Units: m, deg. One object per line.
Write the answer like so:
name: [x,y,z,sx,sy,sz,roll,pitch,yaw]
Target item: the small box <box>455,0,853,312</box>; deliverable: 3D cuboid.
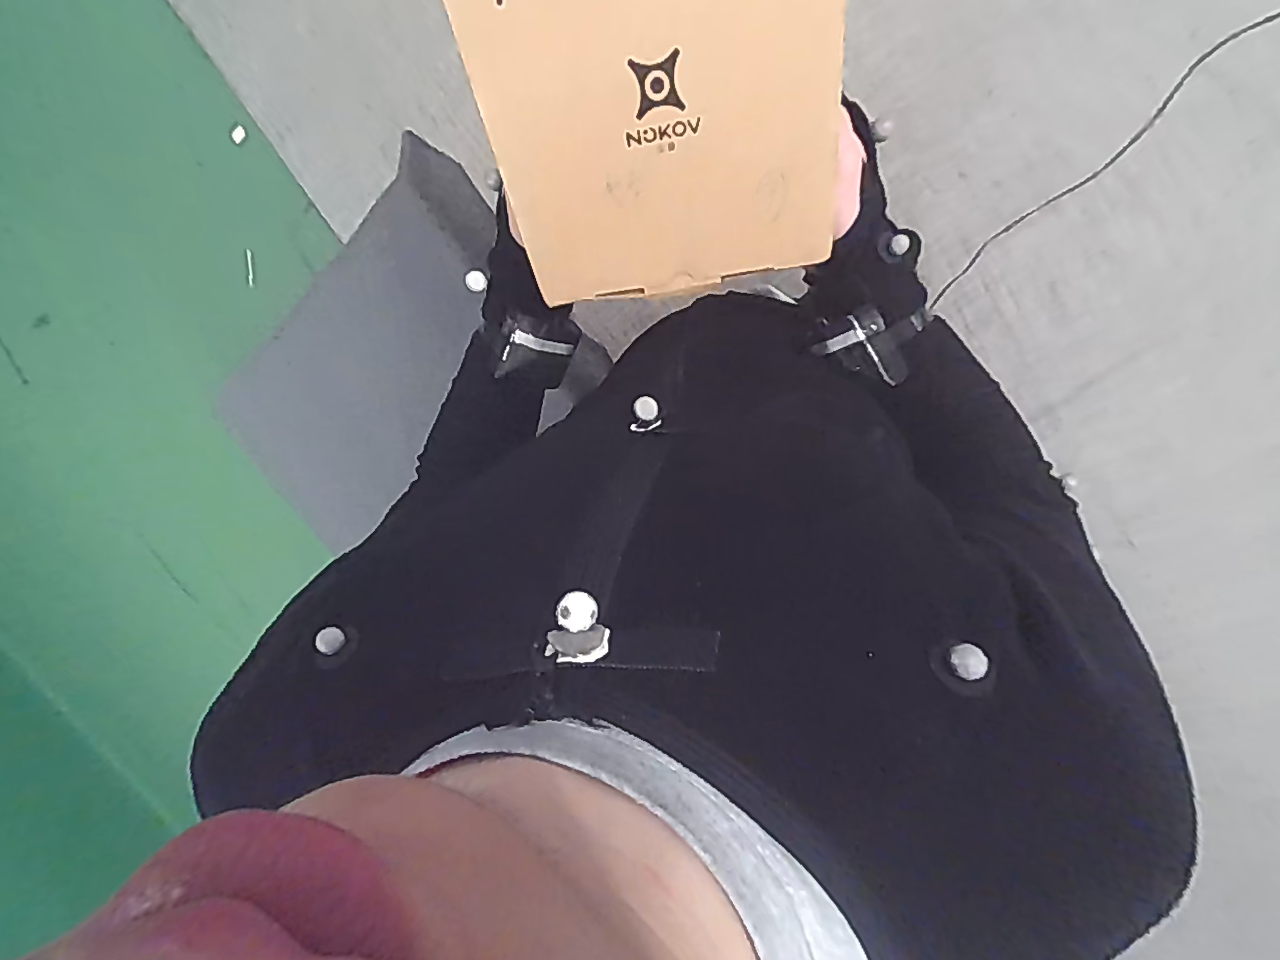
small box: [0.015,-0.225,0.310,0.168,0.176,0.179,-6,134,8]
